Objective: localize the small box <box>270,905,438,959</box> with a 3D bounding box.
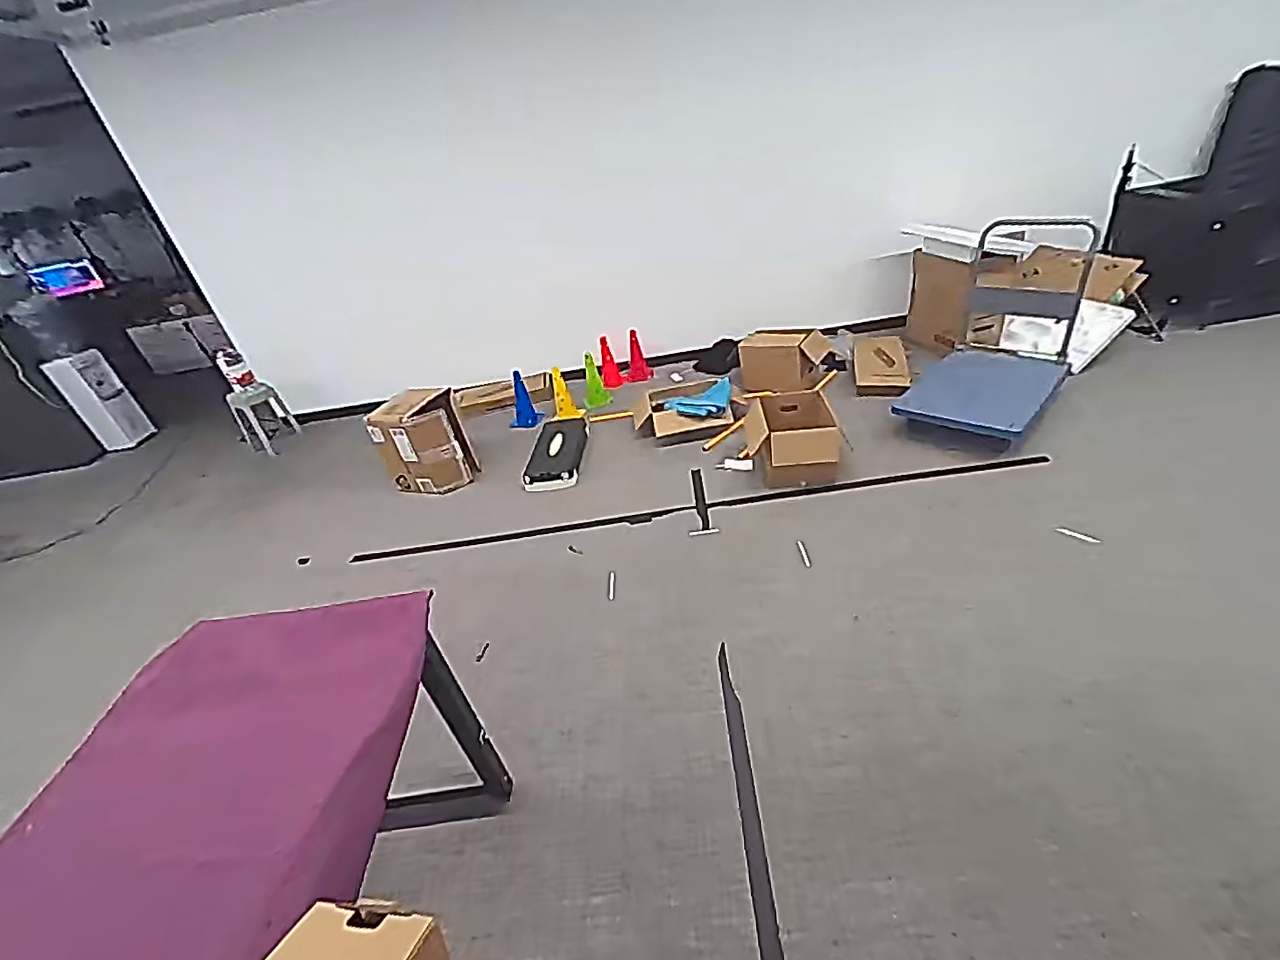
[{"bbox_3d":[-0.289,0.558,0.510,0.168,0.176,0.179,-9,9,18],"label":"small box"}]
